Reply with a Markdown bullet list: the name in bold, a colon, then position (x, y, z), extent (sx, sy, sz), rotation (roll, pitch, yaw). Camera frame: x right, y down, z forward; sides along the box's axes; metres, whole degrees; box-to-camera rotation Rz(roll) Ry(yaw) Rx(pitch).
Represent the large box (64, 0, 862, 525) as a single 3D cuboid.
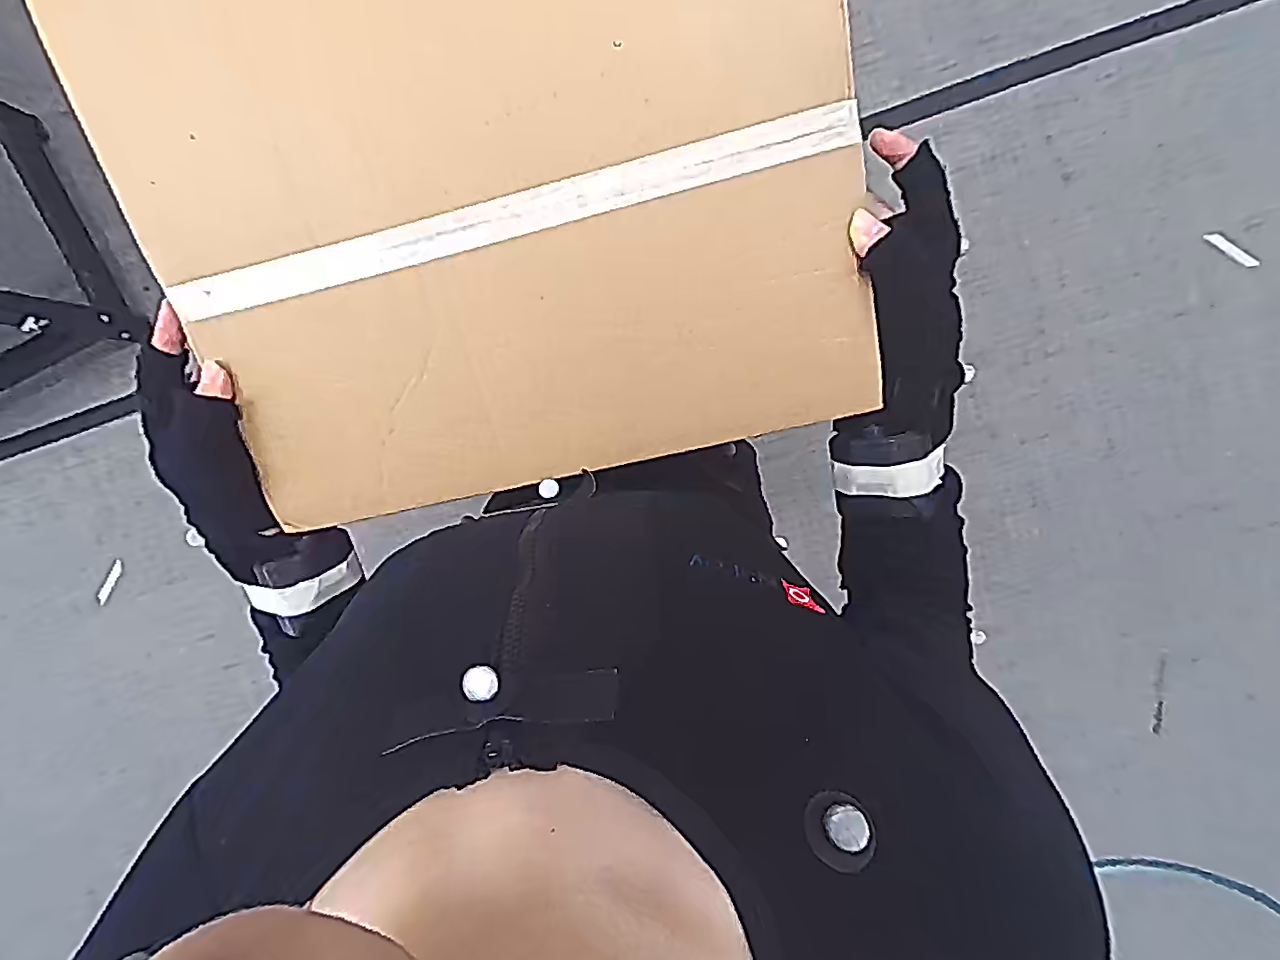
- **large box**: position (-0.079, -0.199, 0.456), extent (0.408, 0.320, 0.320), rotation (-12, 108, 6)
